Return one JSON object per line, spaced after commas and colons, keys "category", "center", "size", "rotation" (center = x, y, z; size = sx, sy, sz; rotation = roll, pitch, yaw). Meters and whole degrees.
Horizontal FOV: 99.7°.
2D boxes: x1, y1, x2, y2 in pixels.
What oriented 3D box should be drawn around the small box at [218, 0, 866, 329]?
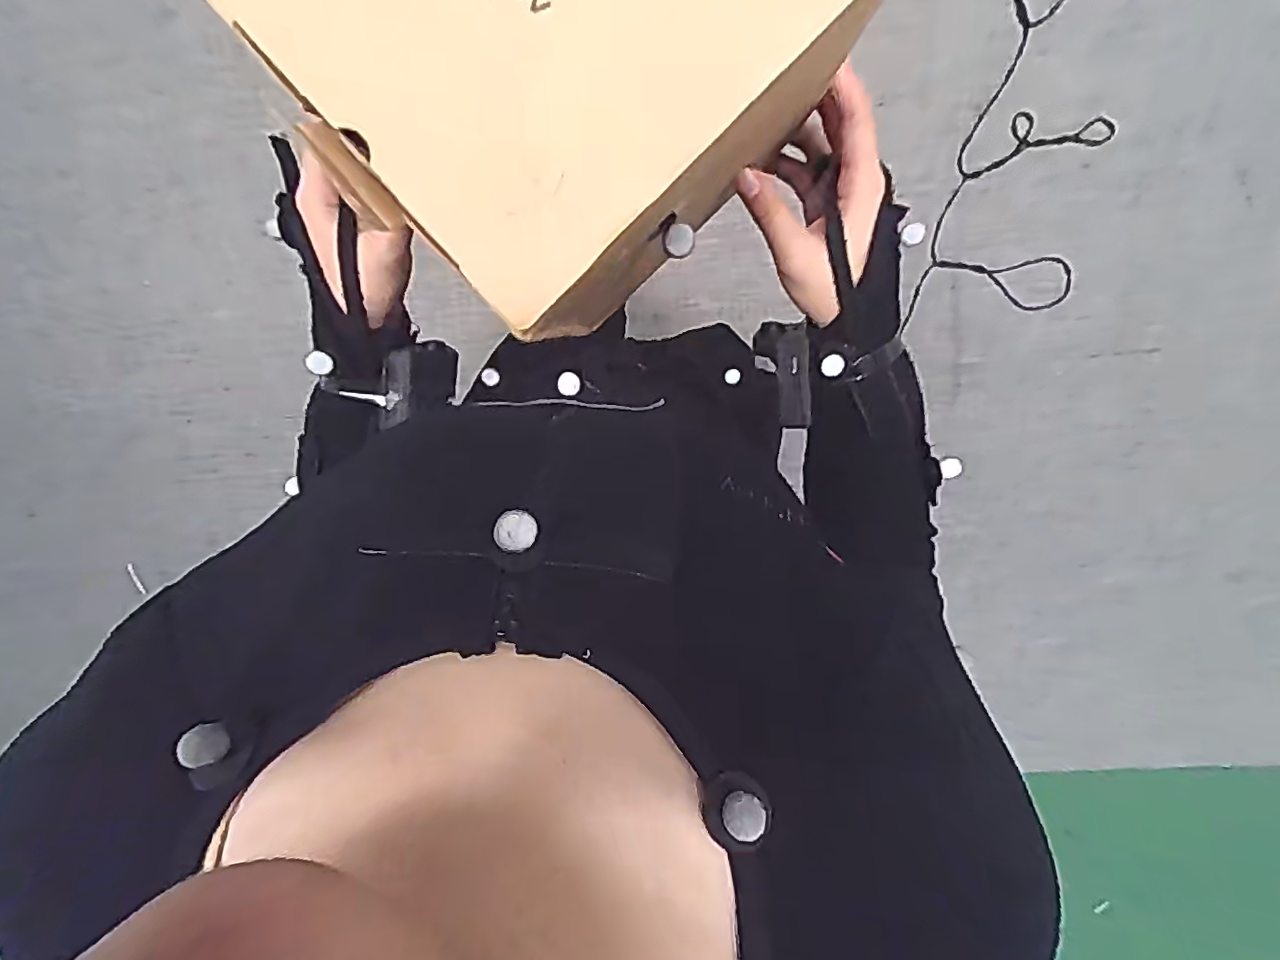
{"category": "small box", "center": [-0.028, -0.190, 0.255], "size": [0.179, 0.176, 0.168], "rotation": [-41, 99, 13]}
